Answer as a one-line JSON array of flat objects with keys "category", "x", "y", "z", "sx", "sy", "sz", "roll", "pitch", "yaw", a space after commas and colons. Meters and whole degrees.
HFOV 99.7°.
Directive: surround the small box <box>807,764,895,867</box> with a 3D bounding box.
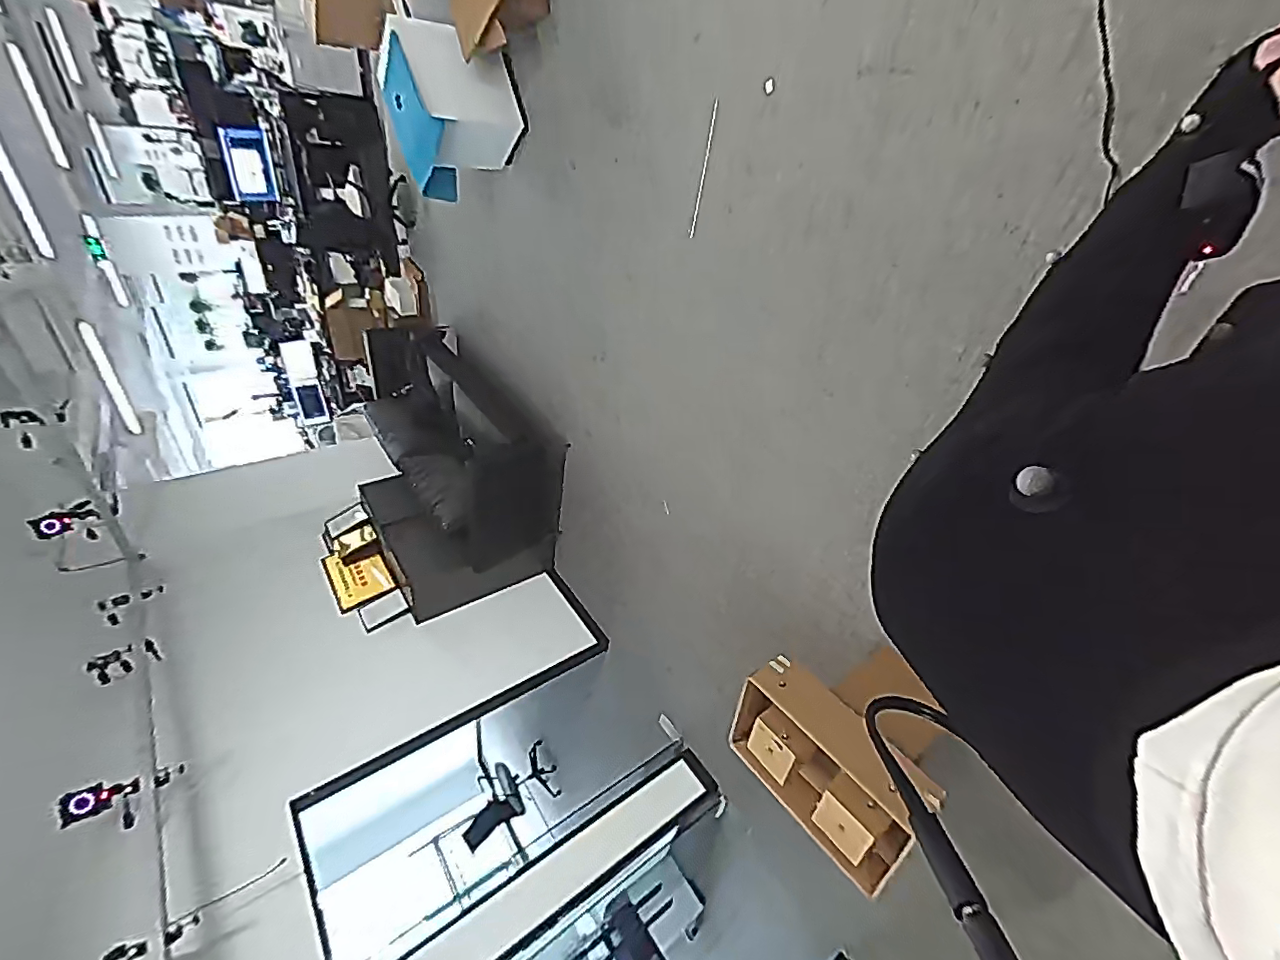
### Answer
[{"category": "small box", "x": 0.643, "y": 1.009, "z": 1.638, "sx": 0.168, "sy": 0.176, "sz": 0.179, "roll": 37, "pitch": 134, "yaw": 39}]
